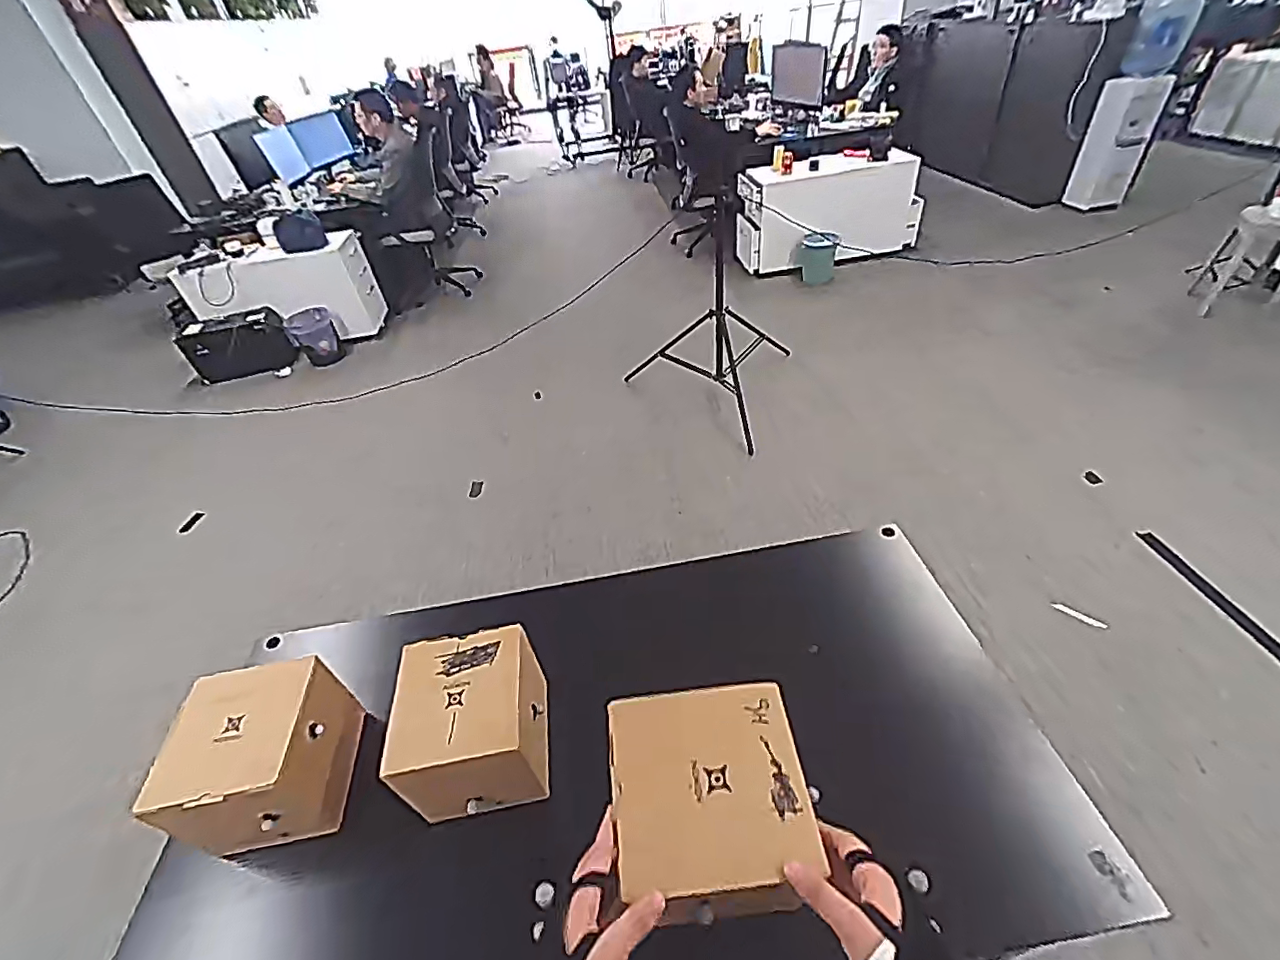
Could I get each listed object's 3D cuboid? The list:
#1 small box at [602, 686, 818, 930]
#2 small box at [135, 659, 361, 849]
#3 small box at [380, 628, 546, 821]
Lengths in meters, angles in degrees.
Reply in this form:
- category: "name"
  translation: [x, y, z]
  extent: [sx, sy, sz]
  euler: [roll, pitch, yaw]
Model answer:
- category: "small box"
  translation: [0.061, 0.336, 0.553]
  extent: [0.179, 0.176, 0.168]
  euler: [-7, 44, -2]
- category: "small box"
  translation: [-0.512, 0.380, 0.744]
  extent: [0.168, 0.176, 0.179]
  euler: [-10, 40, -4]
- category: "small box"
  translation: [-0.228, 0.336, 0.748]
  extent: [0.168, 0.176, 0.179]
  euler: [-10, 42, -3]
